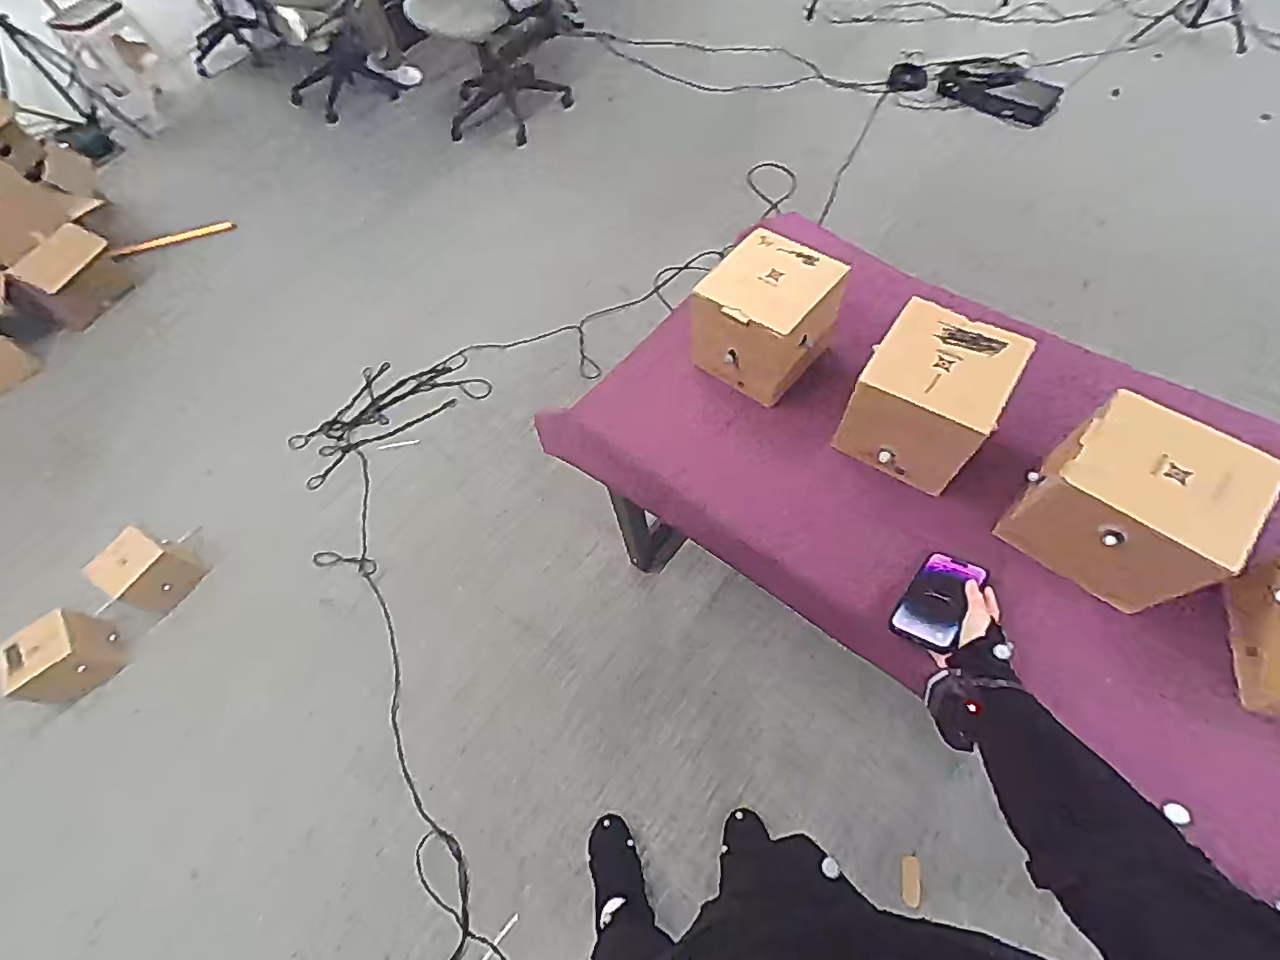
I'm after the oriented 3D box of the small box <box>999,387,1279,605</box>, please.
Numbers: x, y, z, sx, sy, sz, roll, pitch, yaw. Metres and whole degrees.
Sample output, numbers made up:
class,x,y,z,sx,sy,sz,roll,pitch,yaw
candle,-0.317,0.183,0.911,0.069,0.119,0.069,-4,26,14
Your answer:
class,x,y,z,sx,sy,sz,roll,pitch,yaw
small box,0.593,0.027,0.665,0.179,0.176,0.168,39,72,24

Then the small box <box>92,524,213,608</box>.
class,x,y,z,sx,sy,sz,roll,pitch,yaw
small box,-1.435,0.263,1.604,0.179,0.176,0.168,26,68,20

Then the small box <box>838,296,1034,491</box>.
class,x,y,z,sx,sy,sz,roll,pitch,yaw
small box,0.403,-0.118,0.767,0.168,0.176,0.179,31,69,22

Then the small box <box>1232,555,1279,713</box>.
class,x,y,z,sx,sy,sz,roll,pitch,yaw
small box,0.782,0.169,0.561,0.179,0.176,0.168,15,63,14

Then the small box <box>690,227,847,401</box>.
class,x,y,z,sx,sy,sz,roll,pitch,yaw
small box,0.201,-0.260,0.871,0.168,0.176,0.179,36,71,23
